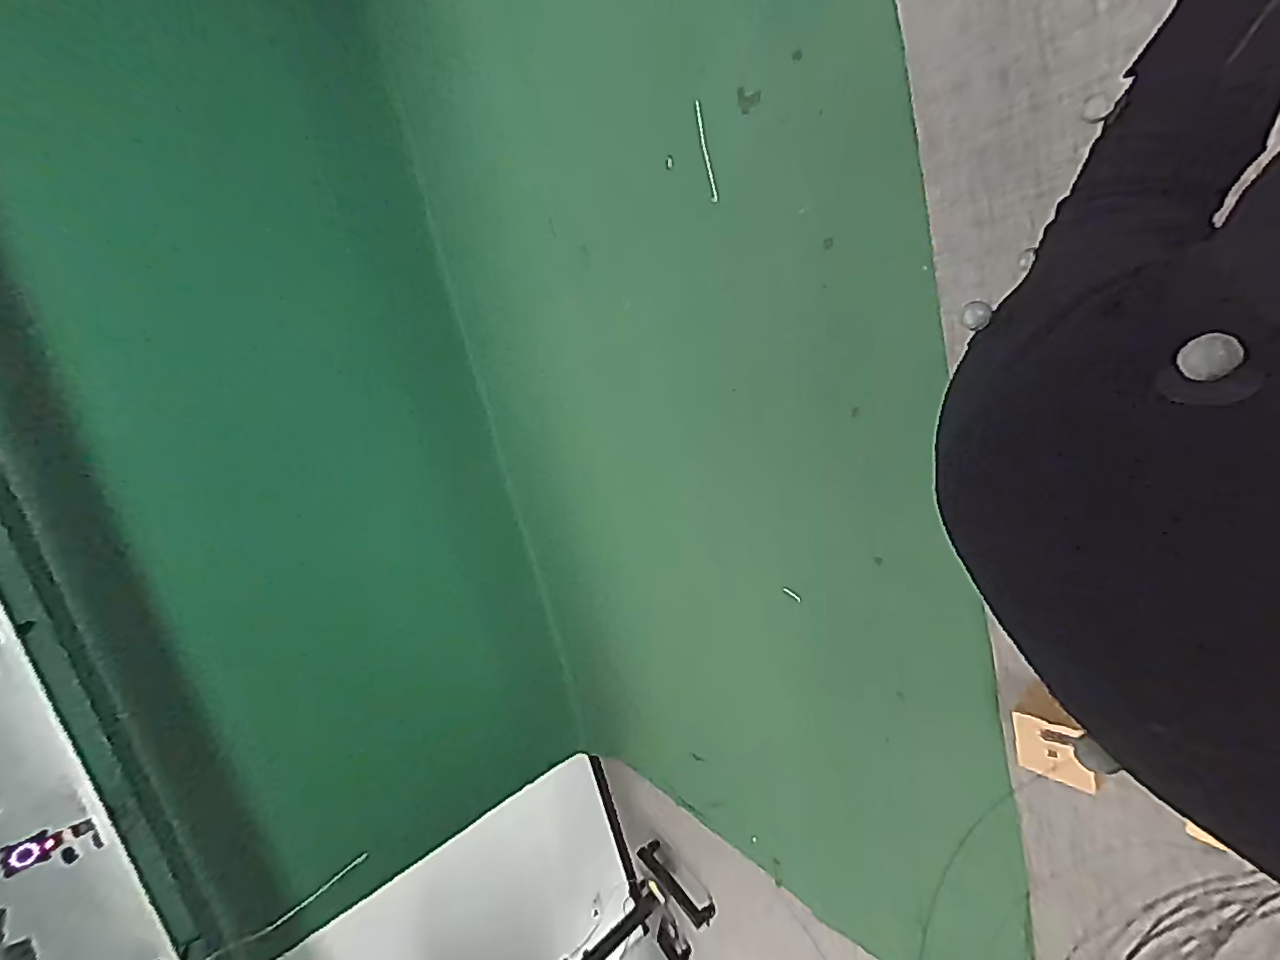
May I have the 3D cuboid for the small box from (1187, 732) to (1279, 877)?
[{"bbox_3d":[1.284,0.674,1.130,0.168,0.176,0.179,10,114,52],"label":"small box"}]

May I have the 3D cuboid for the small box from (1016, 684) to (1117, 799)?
[{"bbox_3d":[1.093,0.656,1.385,0.168,0.176,0.179,2,110,54],"label":"small box"}]
